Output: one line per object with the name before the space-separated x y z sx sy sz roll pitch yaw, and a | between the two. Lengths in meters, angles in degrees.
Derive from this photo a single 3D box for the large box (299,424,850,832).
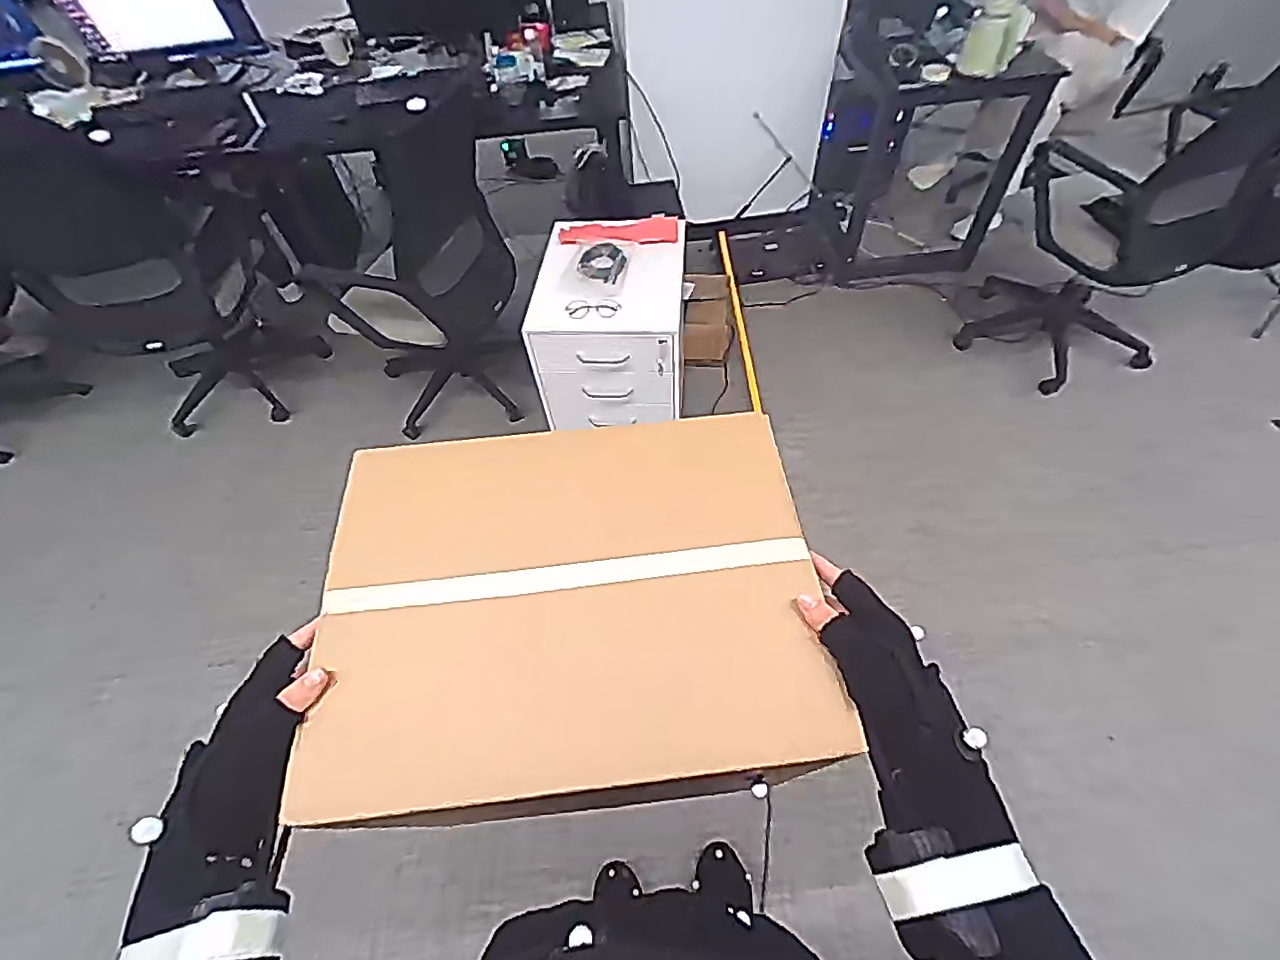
large box | -0.056 0.170 0.587 0.408 0.320 0.320 -6 57 -3
